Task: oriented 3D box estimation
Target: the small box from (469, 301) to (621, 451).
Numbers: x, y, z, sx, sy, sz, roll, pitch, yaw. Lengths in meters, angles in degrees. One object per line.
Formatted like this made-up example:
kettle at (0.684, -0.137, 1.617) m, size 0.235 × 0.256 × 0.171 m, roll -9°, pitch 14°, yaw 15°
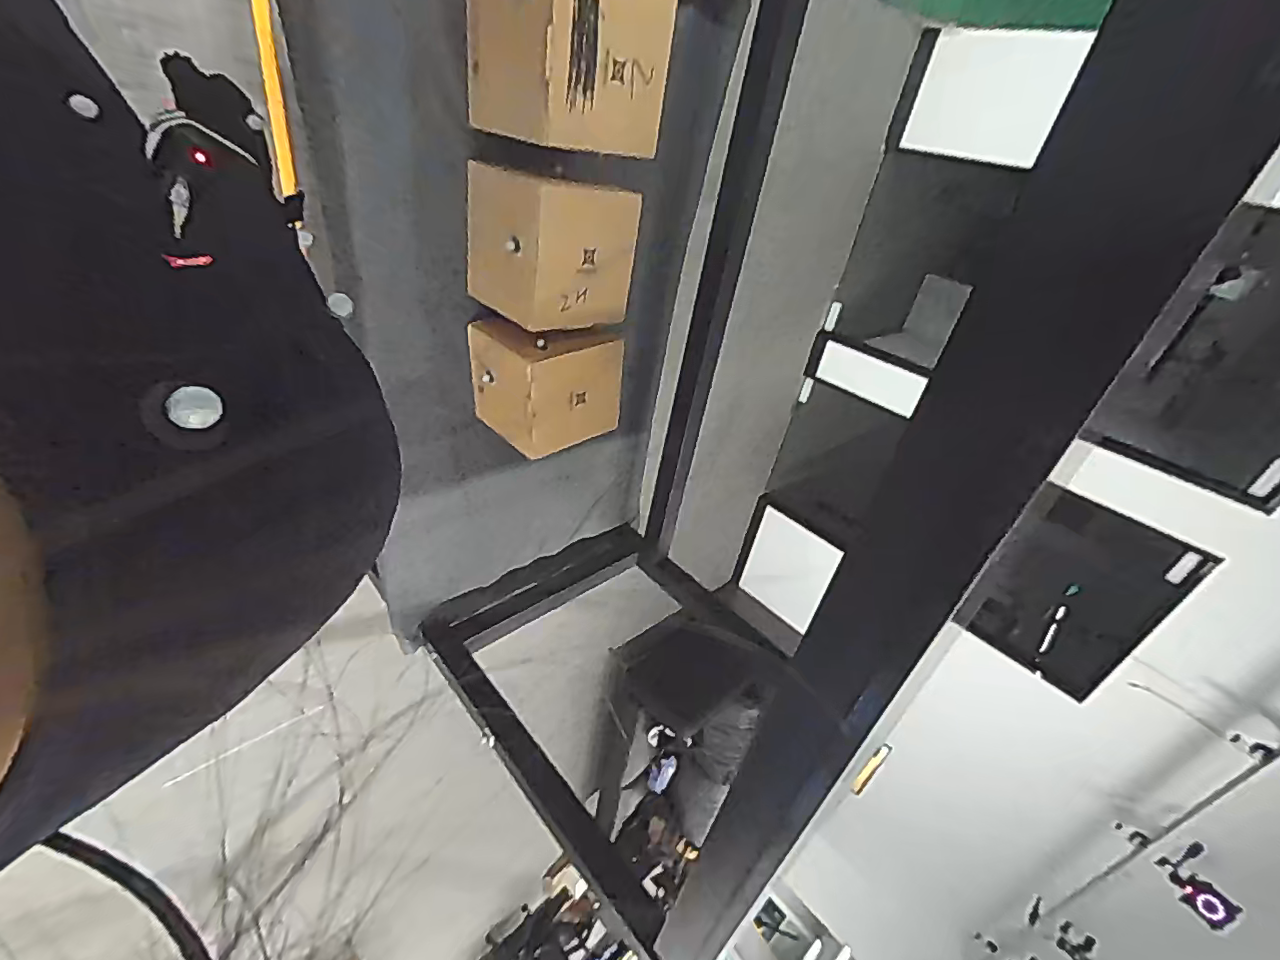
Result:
small box at (-0.154, -0.178, 0.883) m, size 0.179 × 0.176 × 0.168 m, roll -26°, pitch 138°, yaw -35°
